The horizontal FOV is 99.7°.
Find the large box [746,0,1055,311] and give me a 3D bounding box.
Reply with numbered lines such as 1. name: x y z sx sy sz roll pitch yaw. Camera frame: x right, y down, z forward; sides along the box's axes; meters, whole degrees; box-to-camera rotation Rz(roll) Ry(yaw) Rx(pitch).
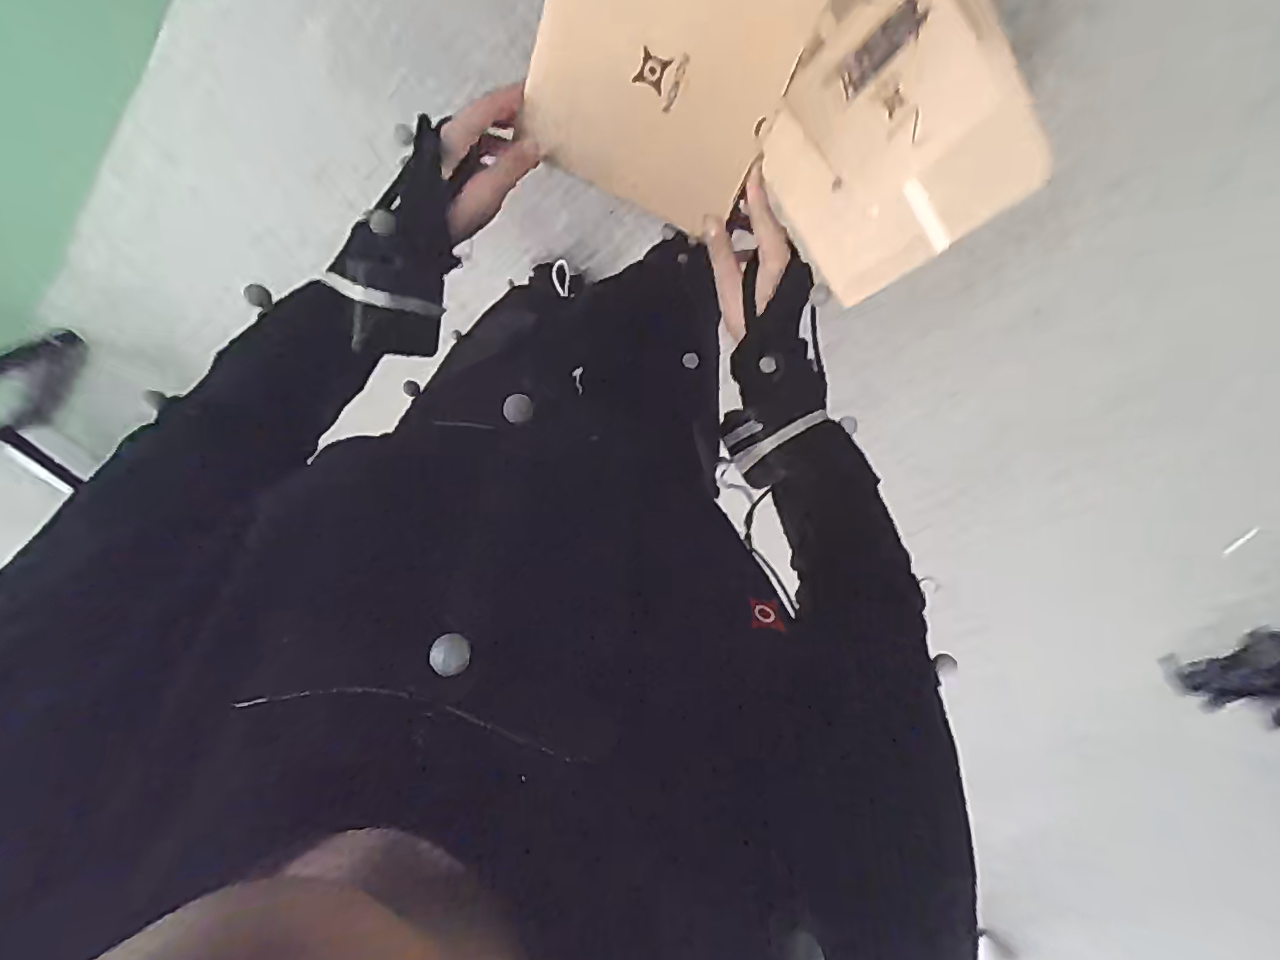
1. large box: 0.358 -0.564 0.867 0.320 0.320 0.408 -30 115 30

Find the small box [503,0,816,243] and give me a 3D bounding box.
1. small box: 0.013 -0.319 0.446 0.179 0.176 0.168 22 121 -6
